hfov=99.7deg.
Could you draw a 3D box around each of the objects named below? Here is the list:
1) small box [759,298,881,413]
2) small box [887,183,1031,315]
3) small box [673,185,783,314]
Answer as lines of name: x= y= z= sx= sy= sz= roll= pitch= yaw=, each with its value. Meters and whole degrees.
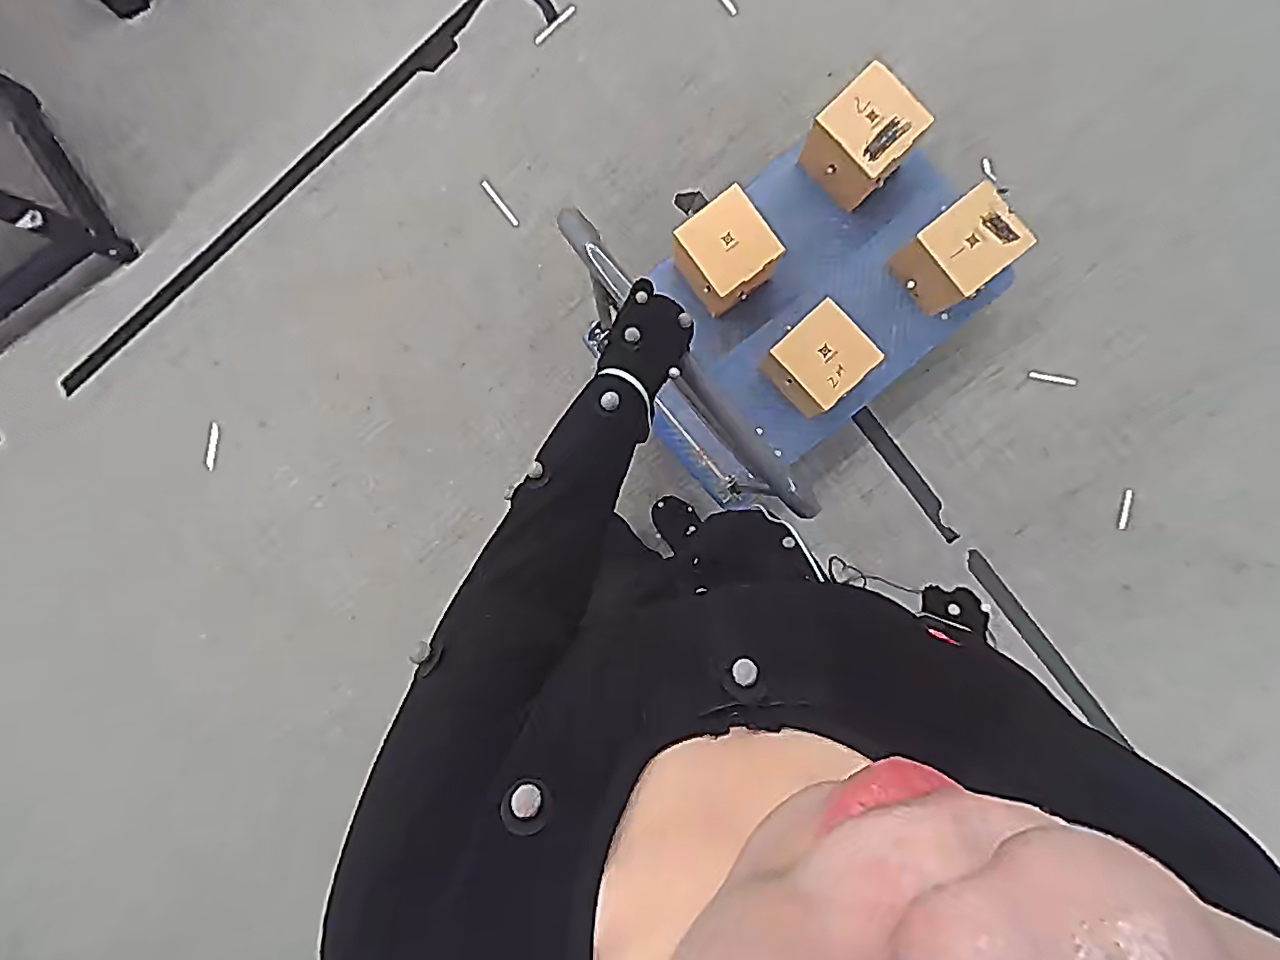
small box: x=0.387 y=-0.265 z=1.201 sx=0.168 sy=0.176 sz=0.179 roll=-42 pitch=90 yaw=4
small box: x=0.680 y=-0.490 z=1.175 sx=0.179 sy=0.176 sz=0.168 roll=-38 pitch=90 yaw=5
small box: x=0.185 y=-0.499 z=1.201 sx=0.168 sy=0.176 sz=0.179 roll=-37 pitch=92 yaw=3
